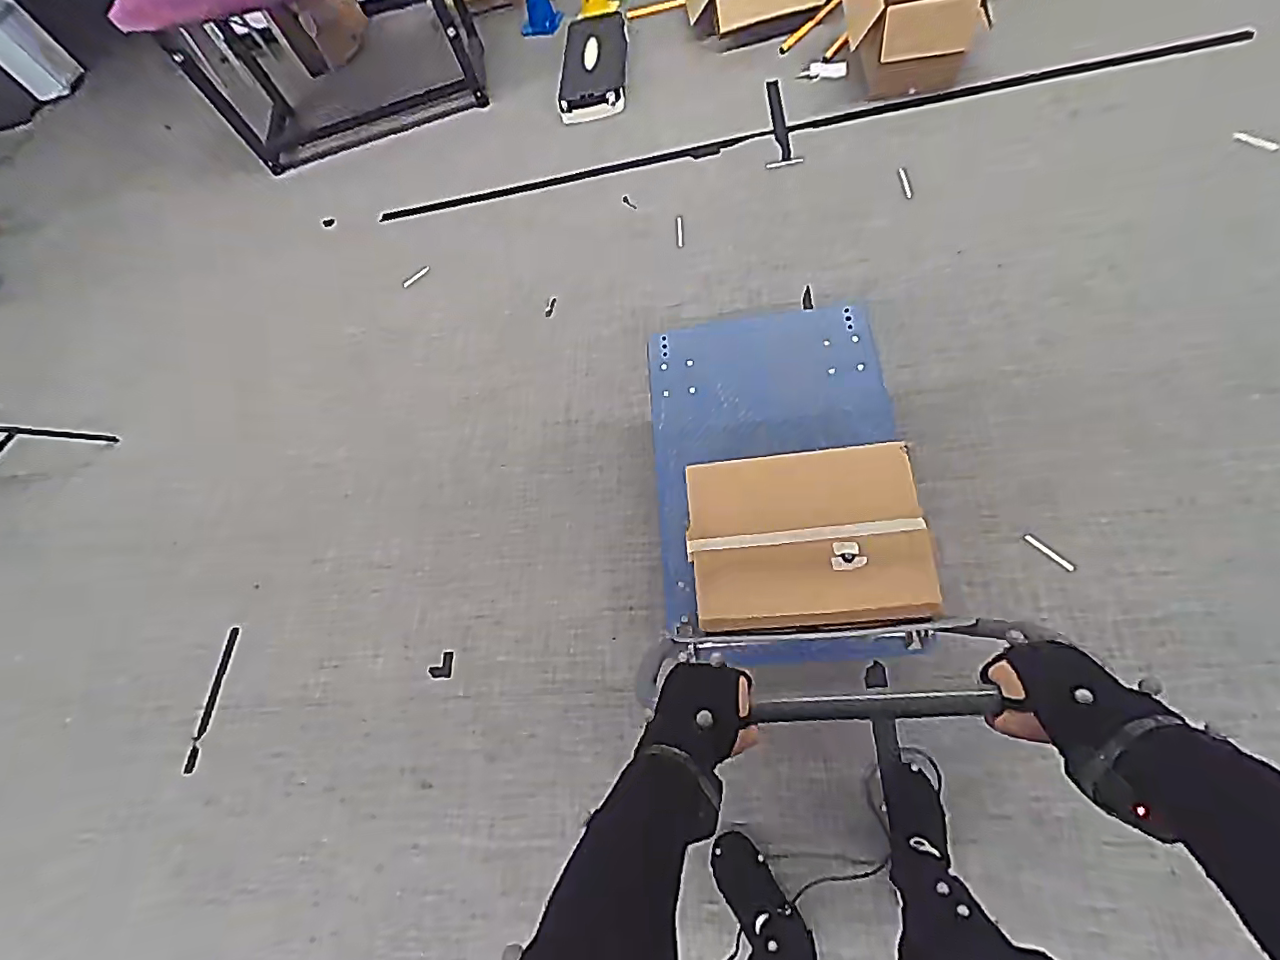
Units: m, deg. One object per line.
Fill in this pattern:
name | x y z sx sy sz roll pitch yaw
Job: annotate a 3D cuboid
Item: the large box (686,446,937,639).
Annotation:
large box | 0.321 0.151 1.122 0.408 0.320 0.320 -7 72 8
